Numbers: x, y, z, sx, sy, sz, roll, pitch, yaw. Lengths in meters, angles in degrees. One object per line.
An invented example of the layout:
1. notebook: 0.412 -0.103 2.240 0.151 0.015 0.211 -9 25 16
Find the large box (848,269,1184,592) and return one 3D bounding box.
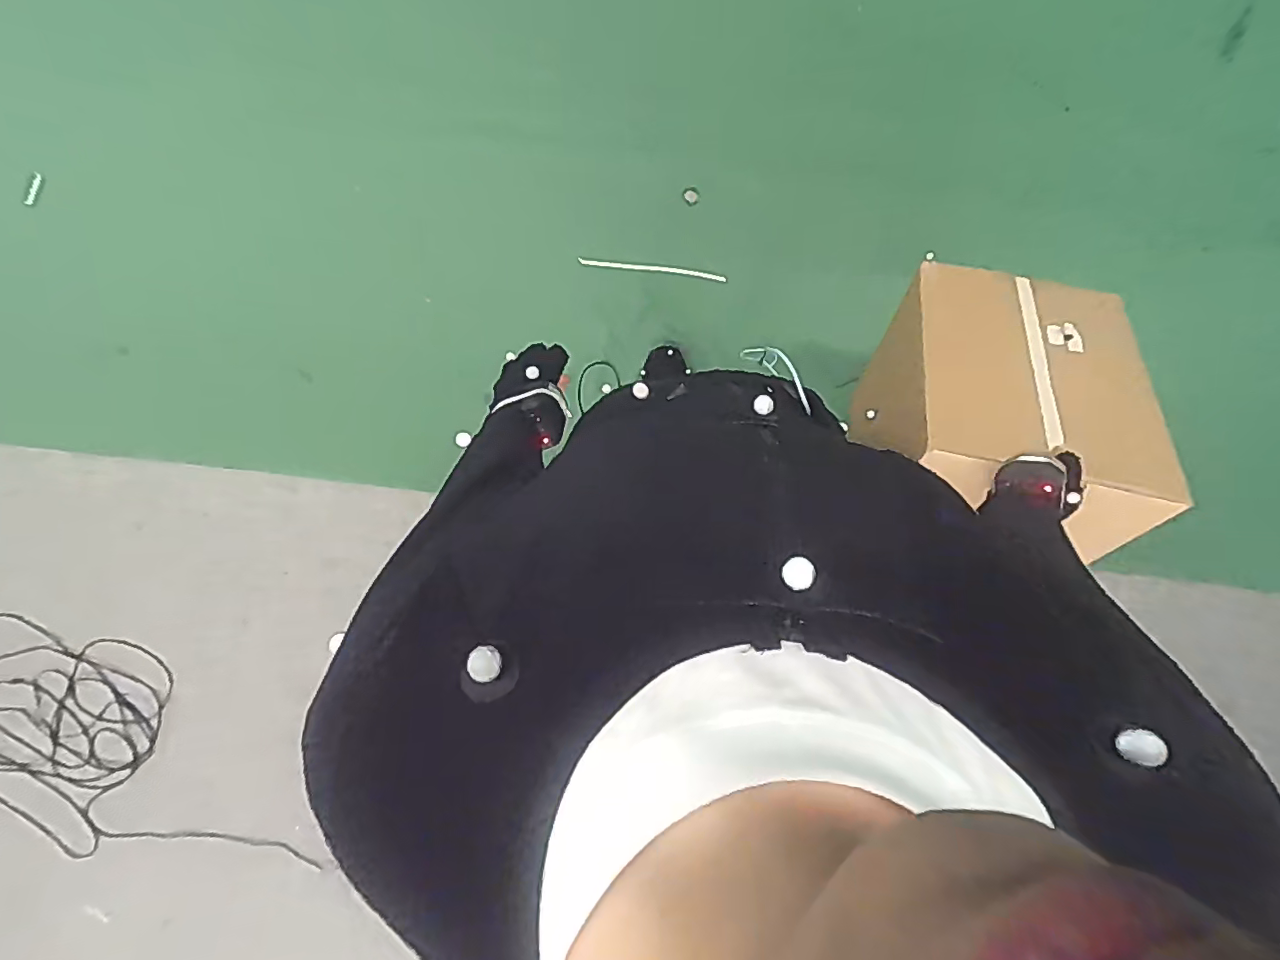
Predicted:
1. large box: 0.554 -0.079 0.900 0.320 0.408 0.320 14 147 6
